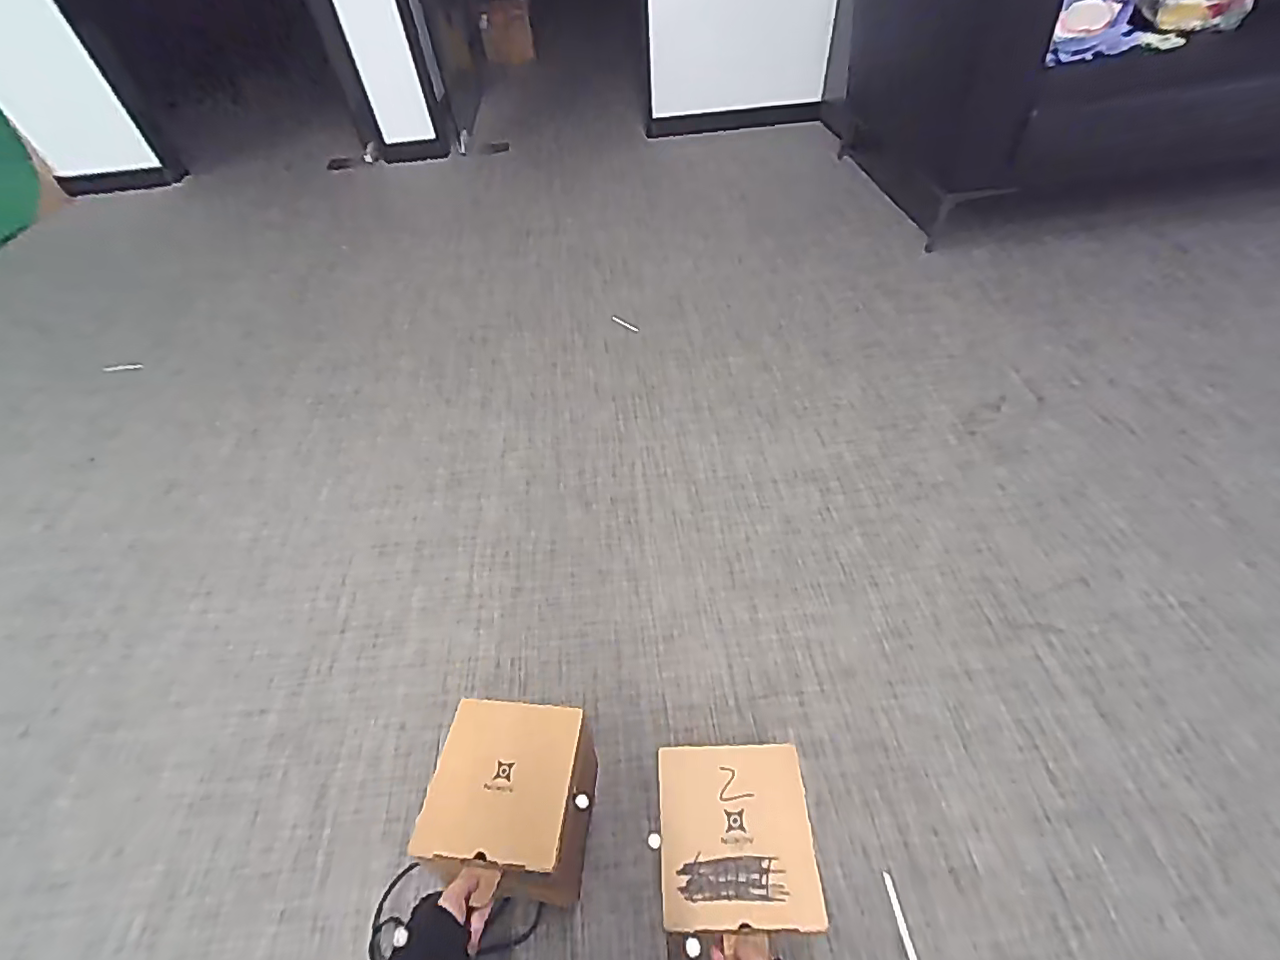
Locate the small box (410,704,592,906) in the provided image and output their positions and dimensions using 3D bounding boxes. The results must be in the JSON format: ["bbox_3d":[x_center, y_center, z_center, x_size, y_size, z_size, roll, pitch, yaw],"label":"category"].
[{"bbox_3d":[-0.159,0.415,0.693,0.168,0.176,0.179,2,44,6],"label":"small box"}]
